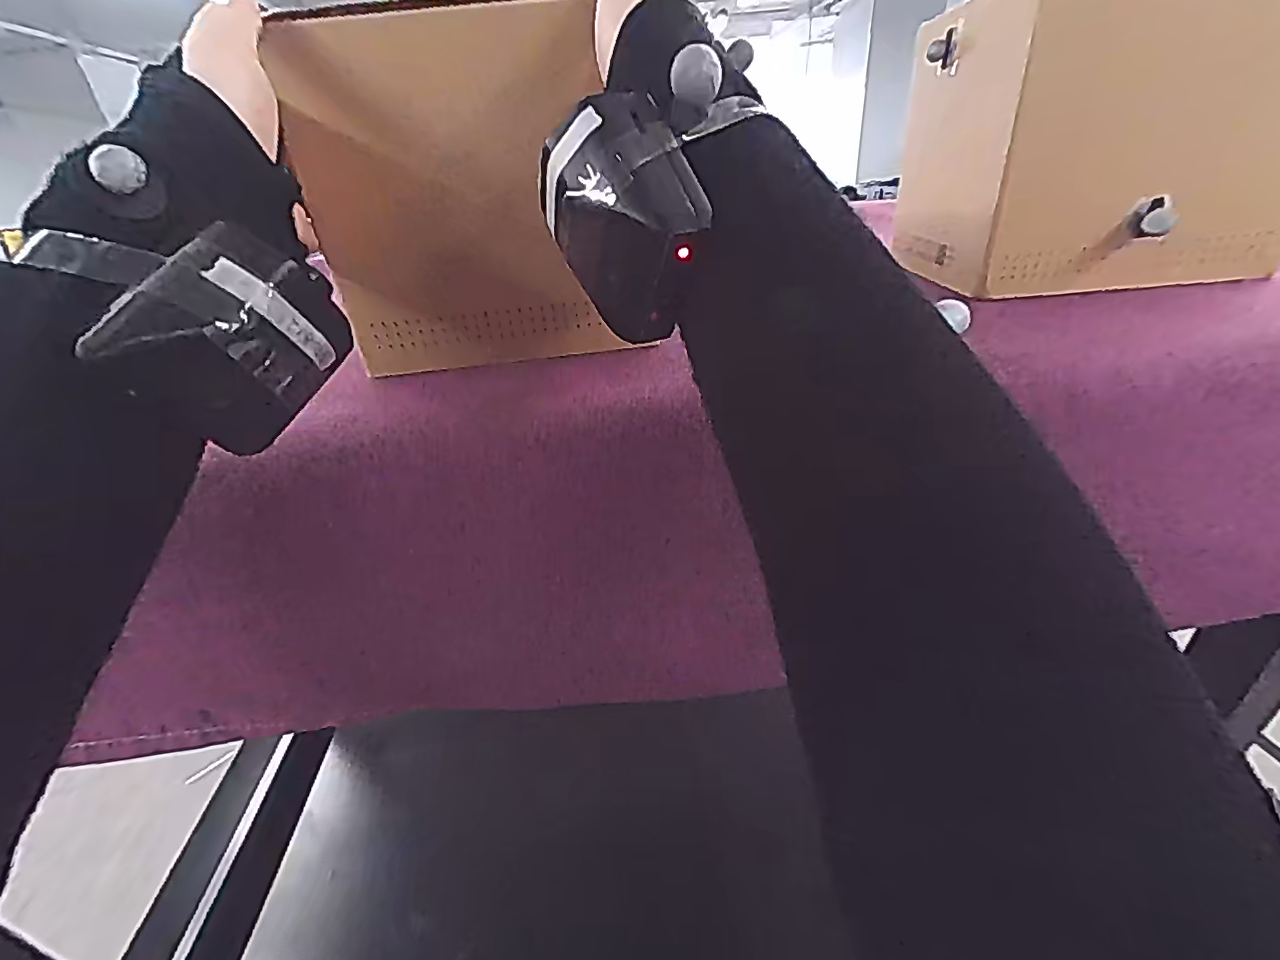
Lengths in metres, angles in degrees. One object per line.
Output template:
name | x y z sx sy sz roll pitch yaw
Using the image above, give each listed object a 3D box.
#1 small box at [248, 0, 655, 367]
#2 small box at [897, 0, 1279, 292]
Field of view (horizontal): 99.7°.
small box | -0.085 -0.184 0.345 0.179 0.176 0.168 -7 32 -2
small box | 0.299 -0.232 0.364 0.179 0.176 0.168 -3 29 5
